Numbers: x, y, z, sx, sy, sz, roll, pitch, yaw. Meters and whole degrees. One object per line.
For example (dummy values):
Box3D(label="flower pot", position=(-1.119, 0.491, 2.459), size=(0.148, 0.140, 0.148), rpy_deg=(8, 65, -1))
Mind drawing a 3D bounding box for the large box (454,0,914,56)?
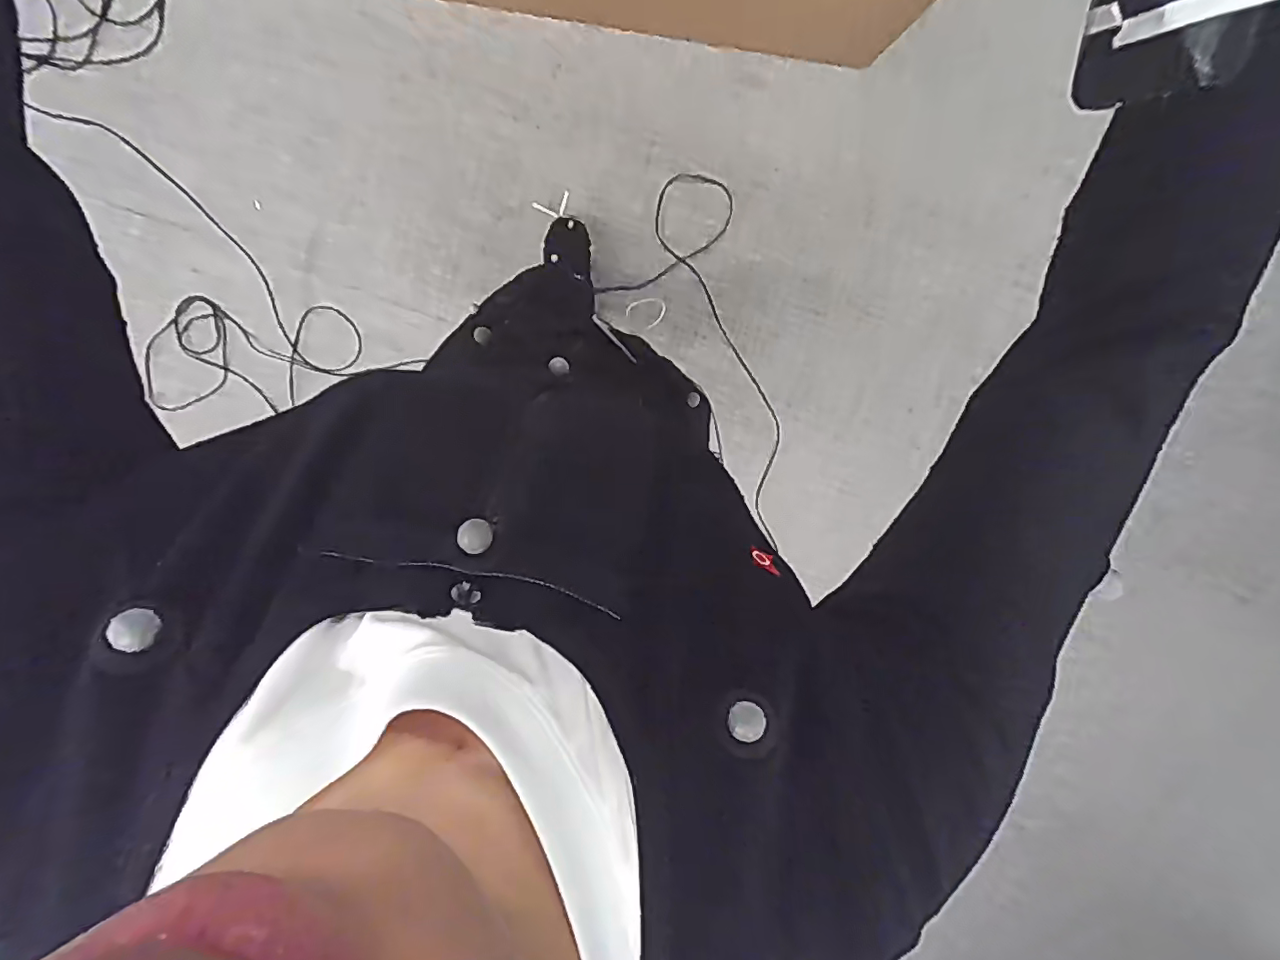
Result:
Box3D(label="large box", position=(0.015, -0.478, 0.271), size=(0.408, 0.320, 0.320), rpy_deg=(7, 110, -3))
